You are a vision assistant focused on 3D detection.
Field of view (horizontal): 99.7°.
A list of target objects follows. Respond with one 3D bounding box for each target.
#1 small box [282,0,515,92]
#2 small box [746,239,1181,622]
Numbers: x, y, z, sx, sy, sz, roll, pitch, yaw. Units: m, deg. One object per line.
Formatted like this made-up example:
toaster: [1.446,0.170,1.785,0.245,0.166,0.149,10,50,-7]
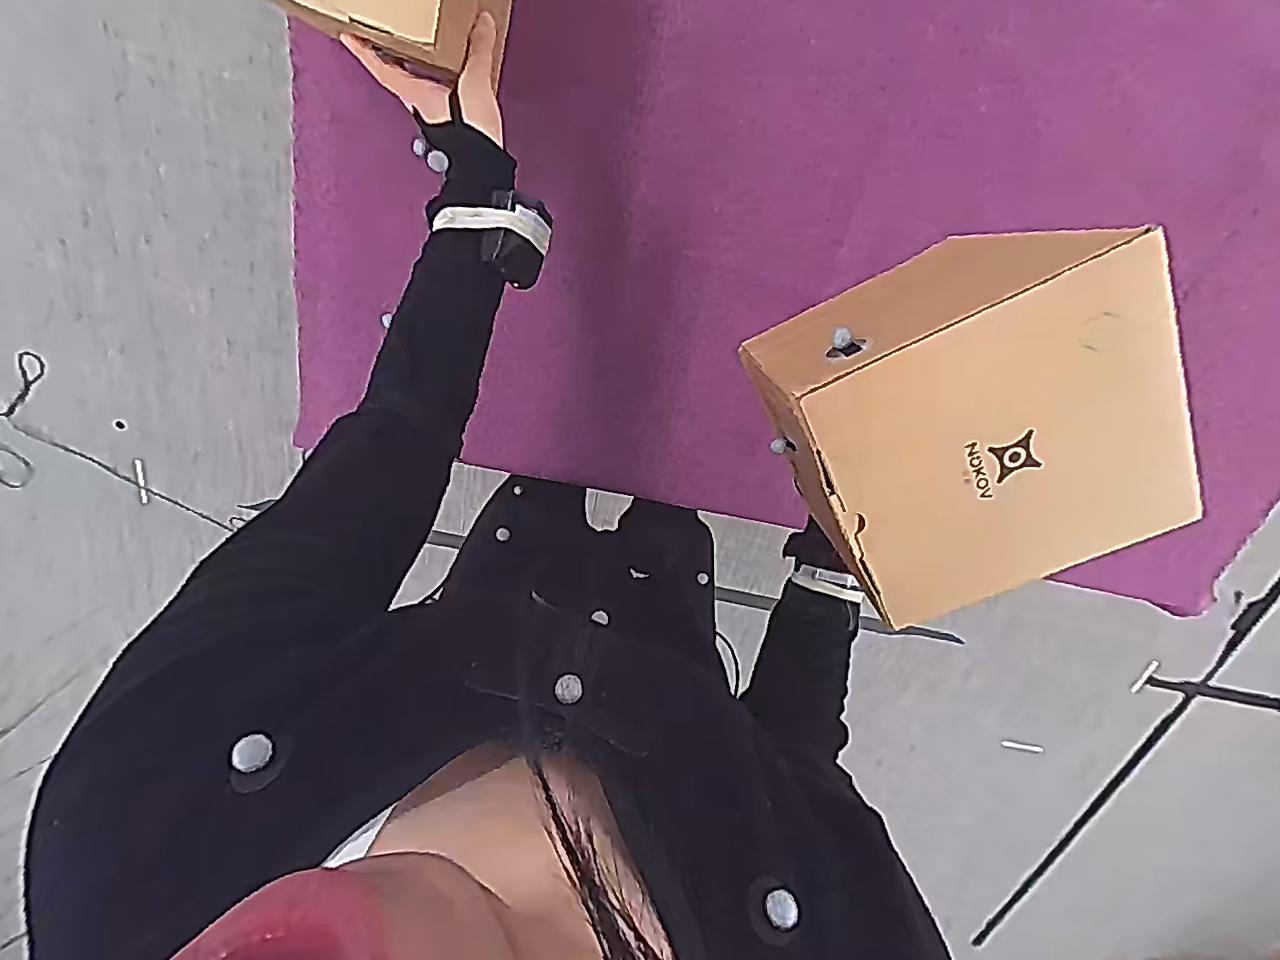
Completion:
small box: [-0.188,-0.432,0.405,0.168,0.176,0.179,17,116,-7]
small box: [0.192,-0.045,0.364,0.179,0.176,0.168,-25,111,11]
